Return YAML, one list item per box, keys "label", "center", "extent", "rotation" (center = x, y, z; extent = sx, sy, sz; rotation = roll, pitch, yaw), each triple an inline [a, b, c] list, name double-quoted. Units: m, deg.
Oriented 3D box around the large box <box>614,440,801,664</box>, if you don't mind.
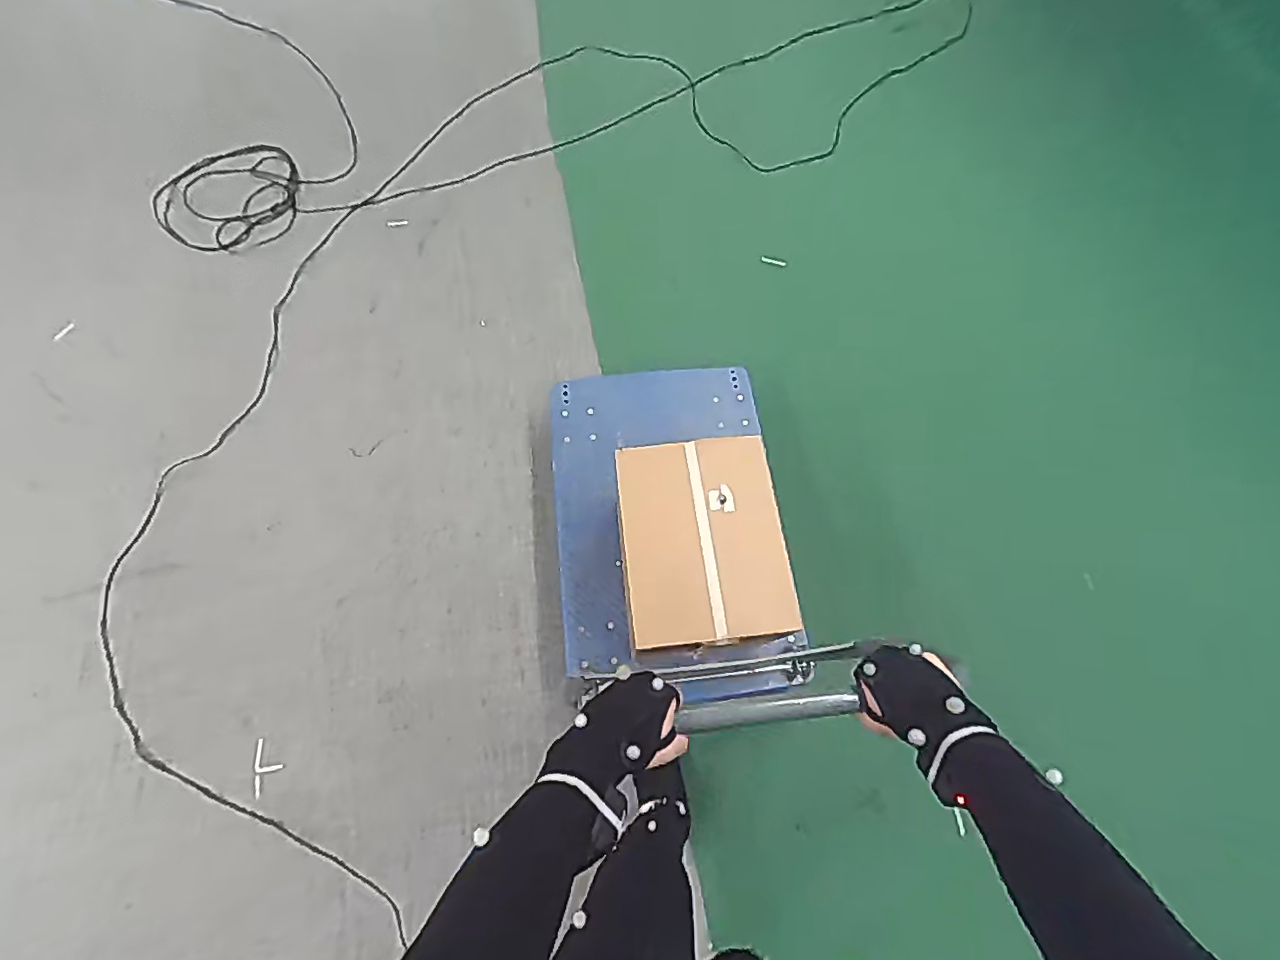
- label: "large box"
  center: [0.120, 0.169, 1.200]
  extent: [0.320, 0.320, 0.408]
  rotation: [-5, 67, -5]
